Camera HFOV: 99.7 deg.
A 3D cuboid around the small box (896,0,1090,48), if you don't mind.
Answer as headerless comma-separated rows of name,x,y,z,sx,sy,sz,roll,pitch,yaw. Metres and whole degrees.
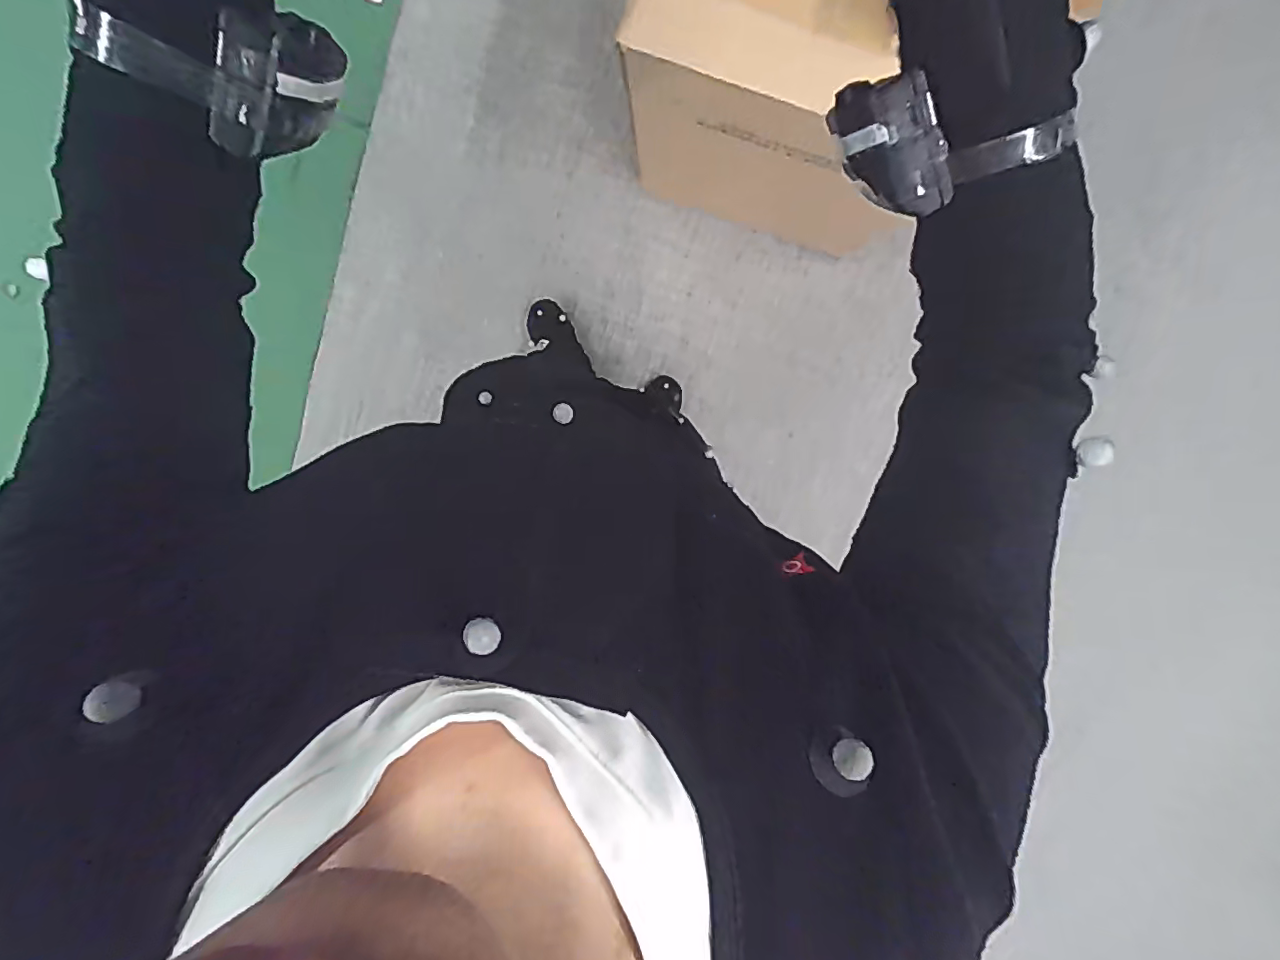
small box,0.408,-0.599,0.572,0.179,0.176,0.168,11,106,3
